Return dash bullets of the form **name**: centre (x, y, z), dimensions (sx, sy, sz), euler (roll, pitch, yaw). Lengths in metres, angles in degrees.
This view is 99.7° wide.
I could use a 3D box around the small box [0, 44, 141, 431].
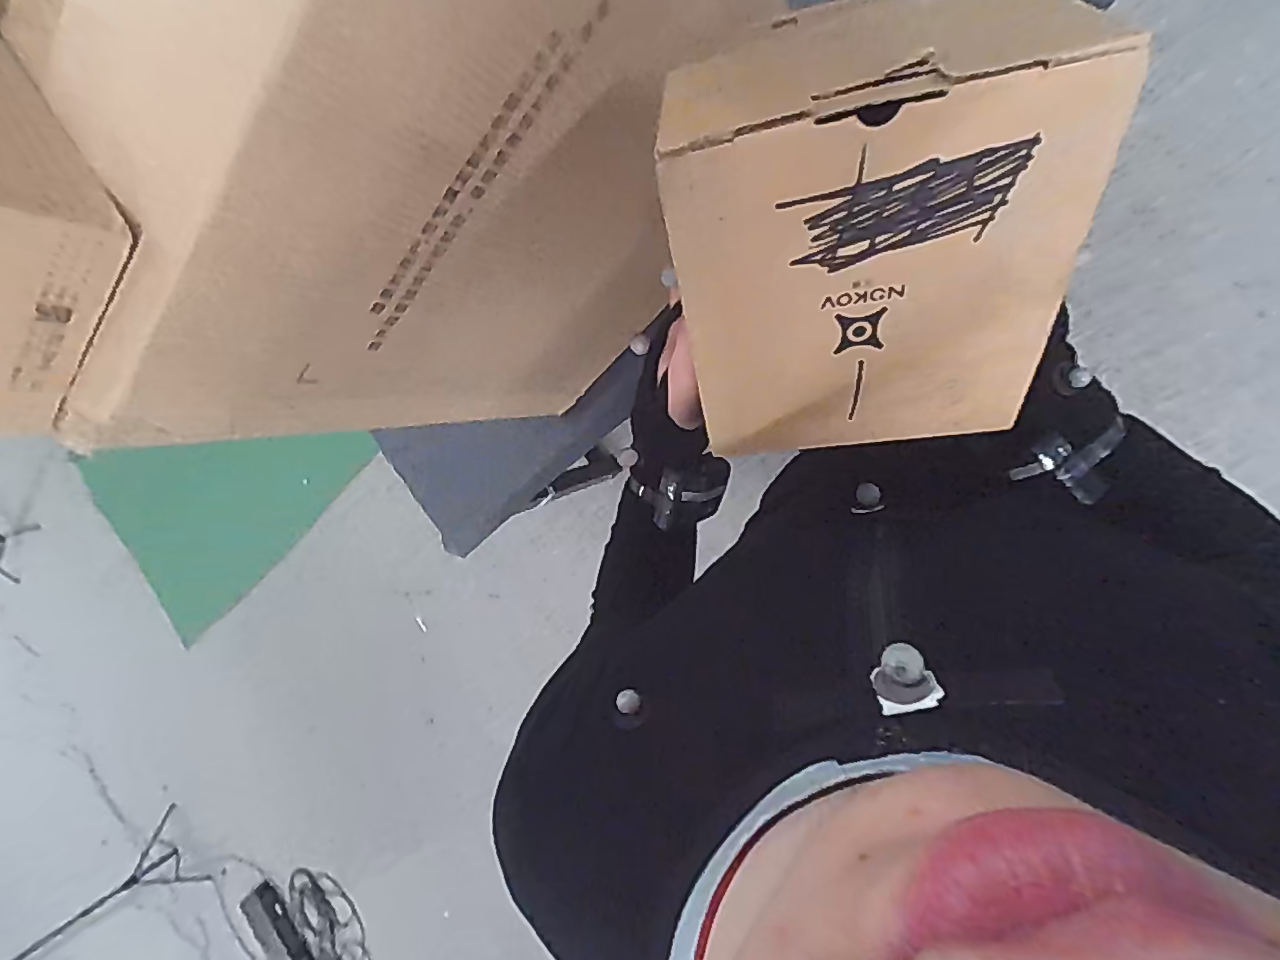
- **small box**: centre (-0.393, -0.128, 0.254), dimensions (0.168, 0.176, 0.179), euler (-41, 83, 22)
